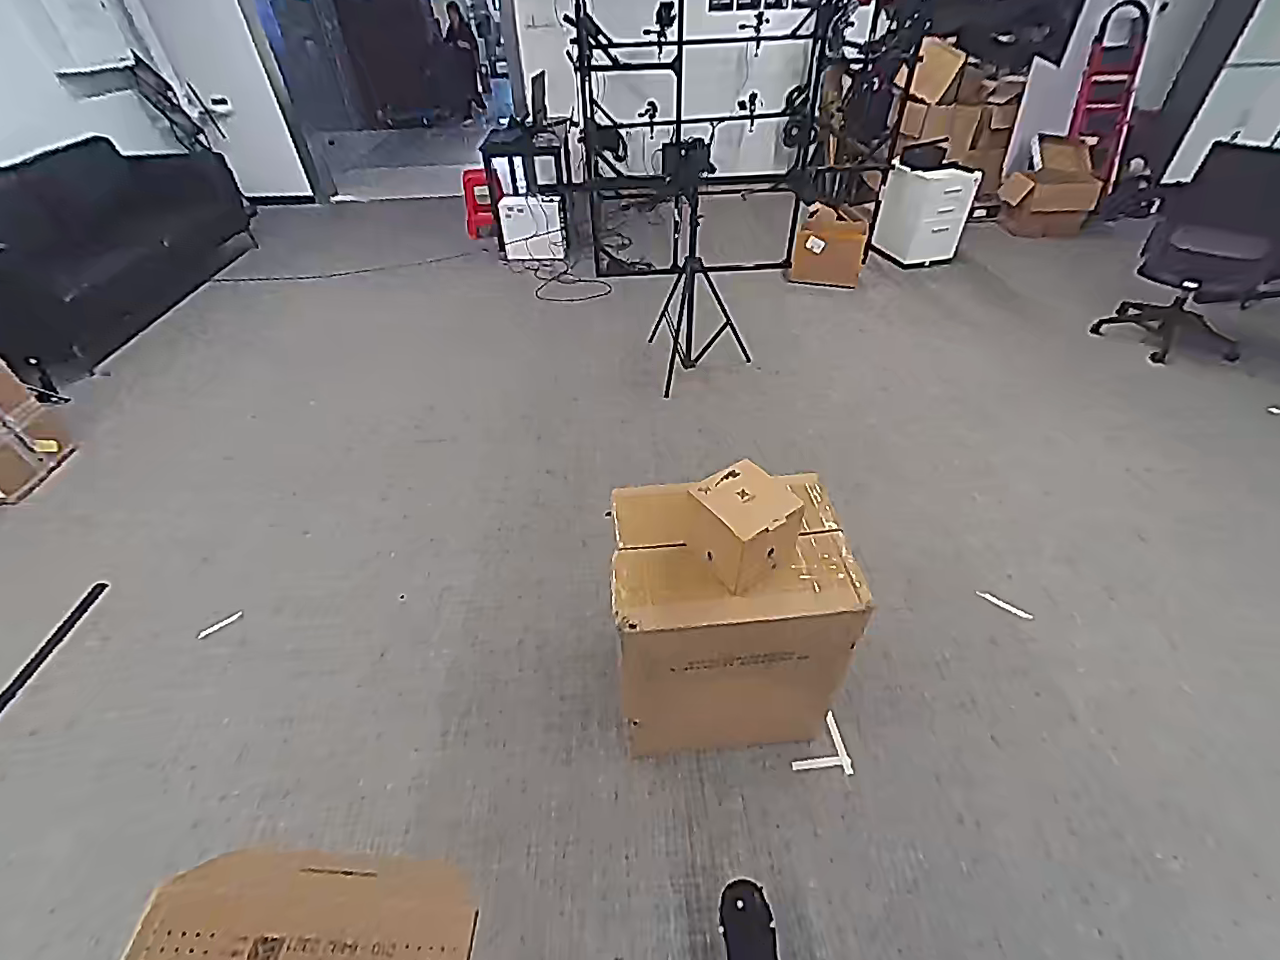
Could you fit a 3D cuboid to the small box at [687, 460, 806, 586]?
[{"bbox_3d":[0.212,0.094,1.122,0.168,0.176,0.179,-26,48,-23],"label":"small box"}]
